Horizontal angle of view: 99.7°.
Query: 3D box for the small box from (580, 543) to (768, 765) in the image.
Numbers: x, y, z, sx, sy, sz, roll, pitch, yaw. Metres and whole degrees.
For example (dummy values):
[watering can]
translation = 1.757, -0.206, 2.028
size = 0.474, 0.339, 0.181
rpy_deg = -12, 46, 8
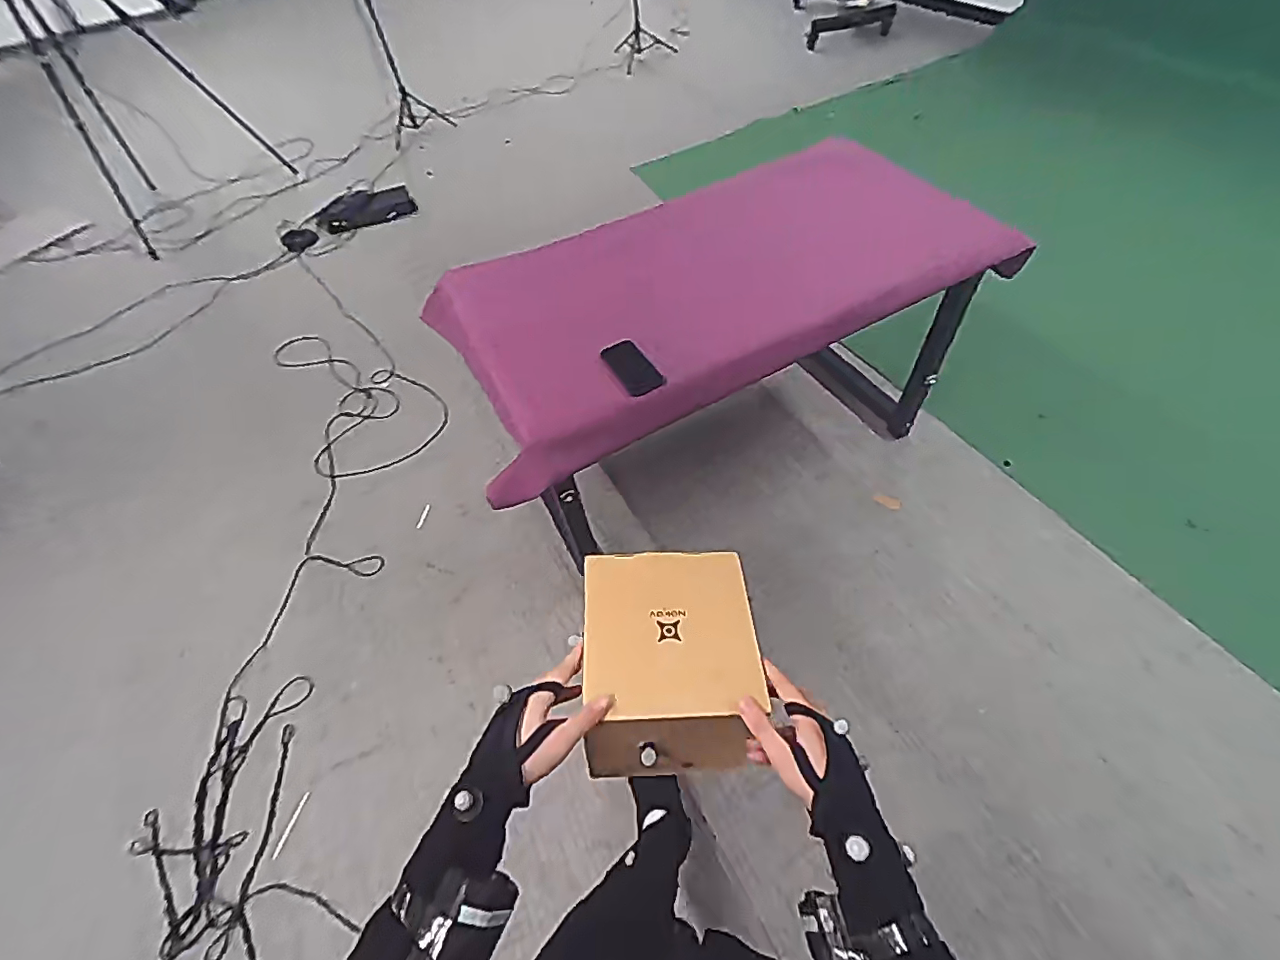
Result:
[small box]
translation = 0.028, 0.188, 0.574
size = 0.168, 0.176, 0.179
rpy_deg = -1, 44, -2
